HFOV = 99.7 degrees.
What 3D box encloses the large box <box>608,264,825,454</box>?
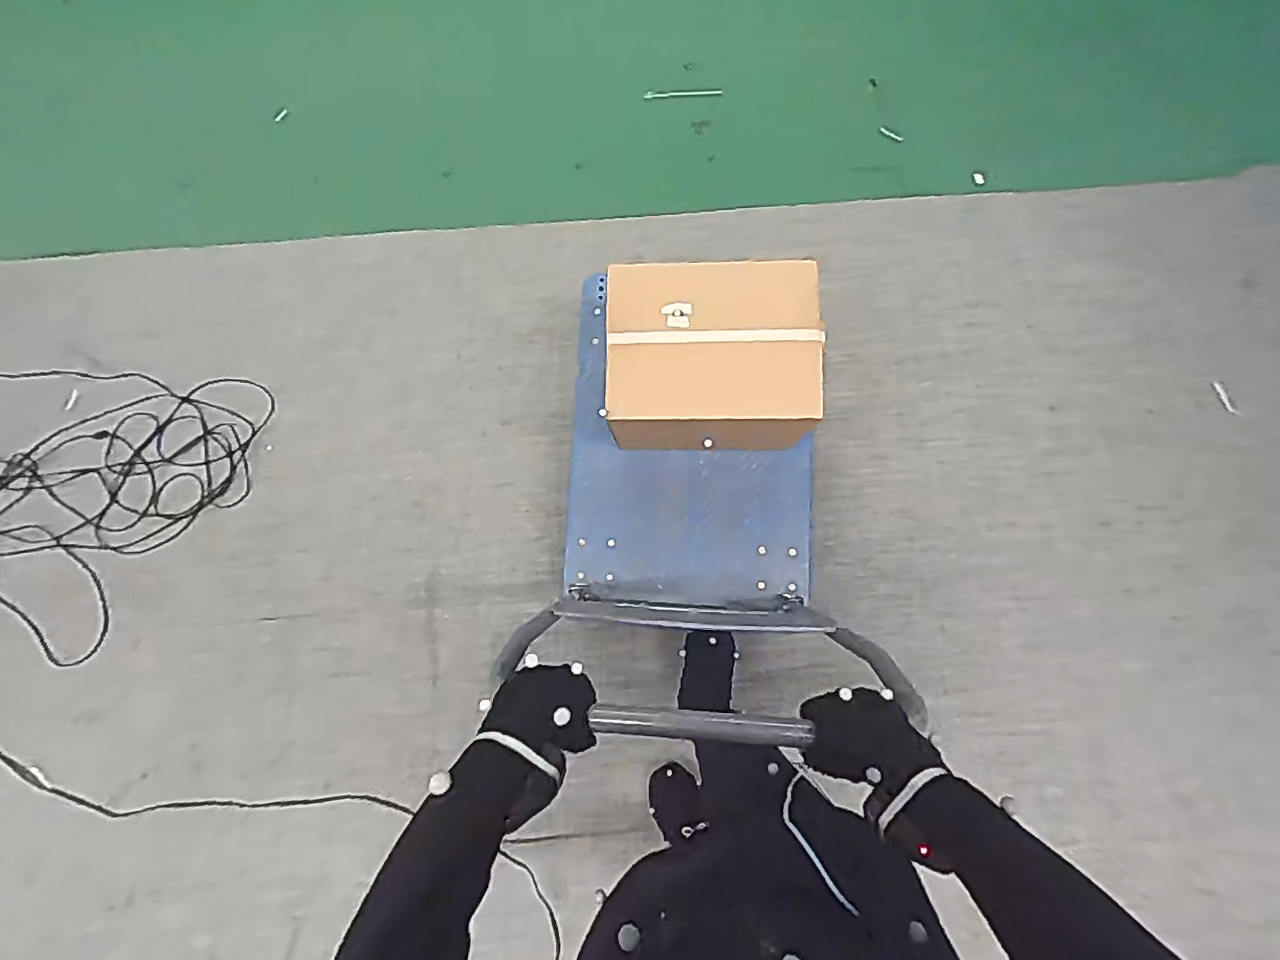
[{"bbox_3d":[0.152,-0.235,1.168,0.408,0.320,0.320,-1,82,5],"label":"large box"}]
